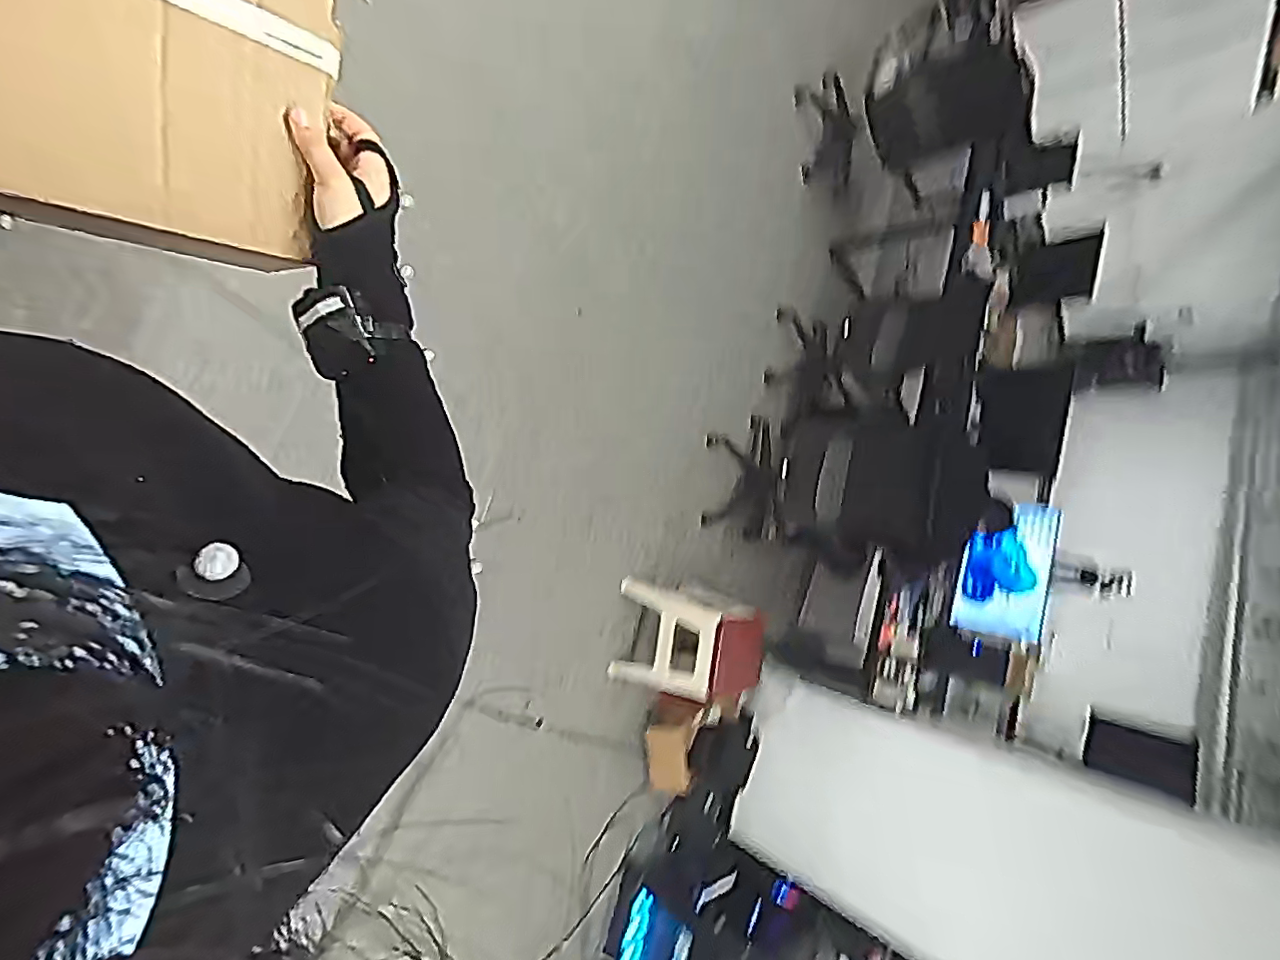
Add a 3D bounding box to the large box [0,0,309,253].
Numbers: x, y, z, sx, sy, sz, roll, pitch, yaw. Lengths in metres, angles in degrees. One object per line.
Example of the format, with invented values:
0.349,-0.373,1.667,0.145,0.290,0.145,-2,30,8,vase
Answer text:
-0.507,-0.381,0.411,0.408,0.320,0.320,-1,105,-41,large box
